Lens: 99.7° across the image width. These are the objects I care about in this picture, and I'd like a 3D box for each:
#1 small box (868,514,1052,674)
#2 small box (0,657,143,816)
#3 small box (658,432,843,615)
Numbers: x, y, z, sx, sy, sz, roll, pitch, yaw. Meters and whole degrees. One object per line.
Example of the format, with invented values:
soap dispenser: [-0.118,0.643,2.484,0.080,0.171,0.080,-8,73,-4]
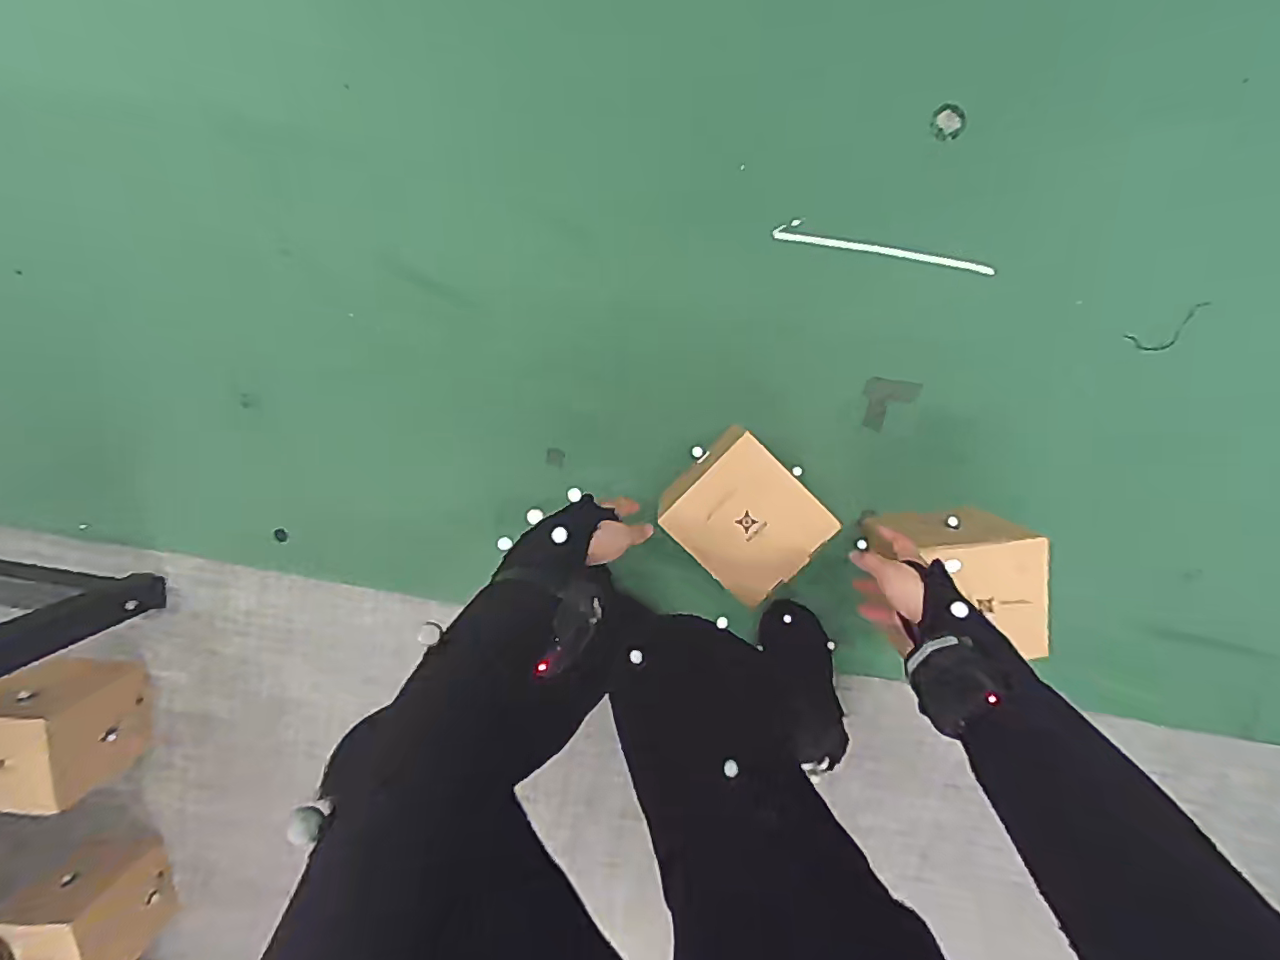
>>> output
small box: [0.435,0.151,0.763,0.179,0.176,0.168,-6,100,4]
small box: [-0.969,0.409,0.887,0.179,0.176,0.168,5,100,2]
small box: [0.144,0.048,0.760,0.179,0.176,0.168,44,99,-5]
